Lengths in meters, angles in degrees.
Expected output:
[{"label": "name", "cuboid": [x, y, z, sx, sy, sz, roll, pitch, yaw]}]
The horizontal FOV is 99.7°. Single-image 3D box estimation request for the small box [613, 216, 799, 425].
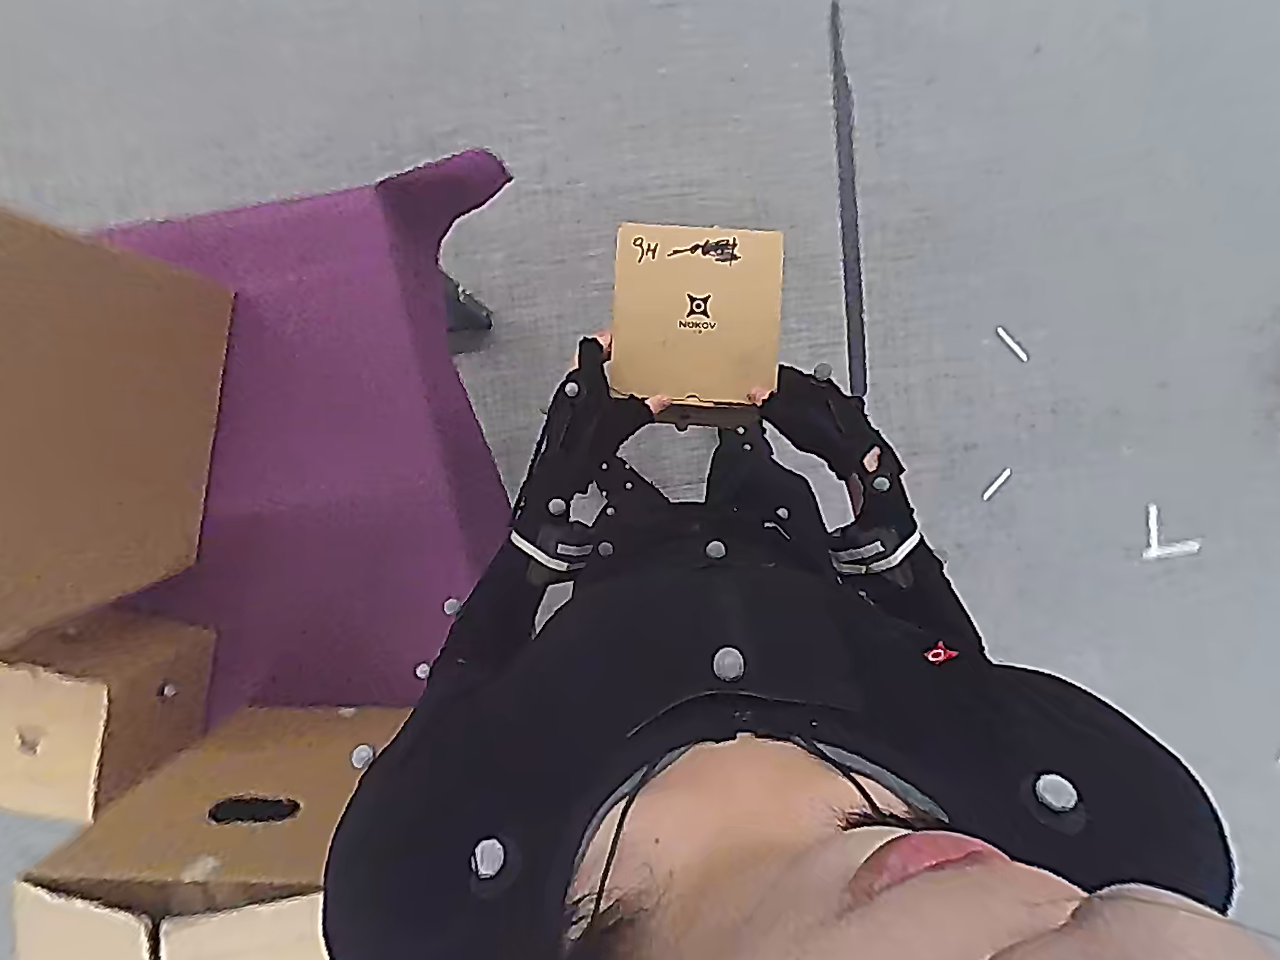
[{"label": "small box", "cuboid": [0.063, -0.159, 0.597, 0.168, 0.176, 0.179, 5, 89, -1]}]
